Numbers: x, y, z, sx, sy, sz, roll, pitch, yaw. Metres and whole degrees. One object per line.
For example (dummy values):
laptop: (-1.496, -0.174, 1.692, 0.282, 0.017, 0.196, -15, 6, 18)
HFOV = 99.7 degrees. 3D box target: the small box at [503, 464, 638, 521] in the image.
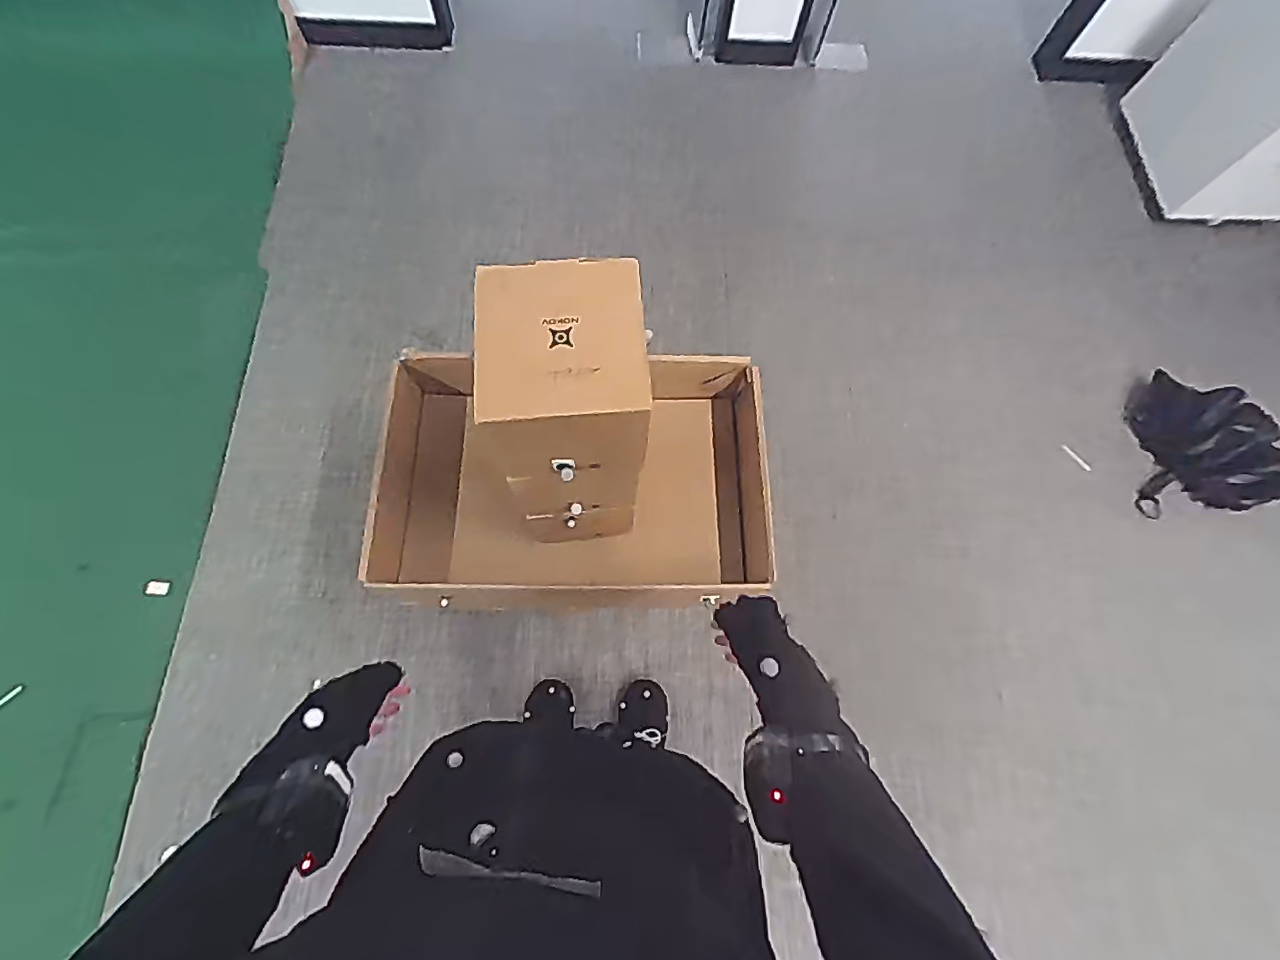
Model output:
small box: (-0.095, -0.054, 0.755, 0.168, 0.176, 0.179, -5, 71, -4)

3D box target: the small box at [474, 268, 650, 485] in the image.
small box: (-0.082, -0.107, 0.603, 0.168, 0.176, 0.179, -5, 72, -3)

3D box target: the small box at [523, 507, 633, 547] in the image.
small box: (-0.104, 0.003, 0.909, 0.168, 0.176, 0.179, -6, 70, -4)
